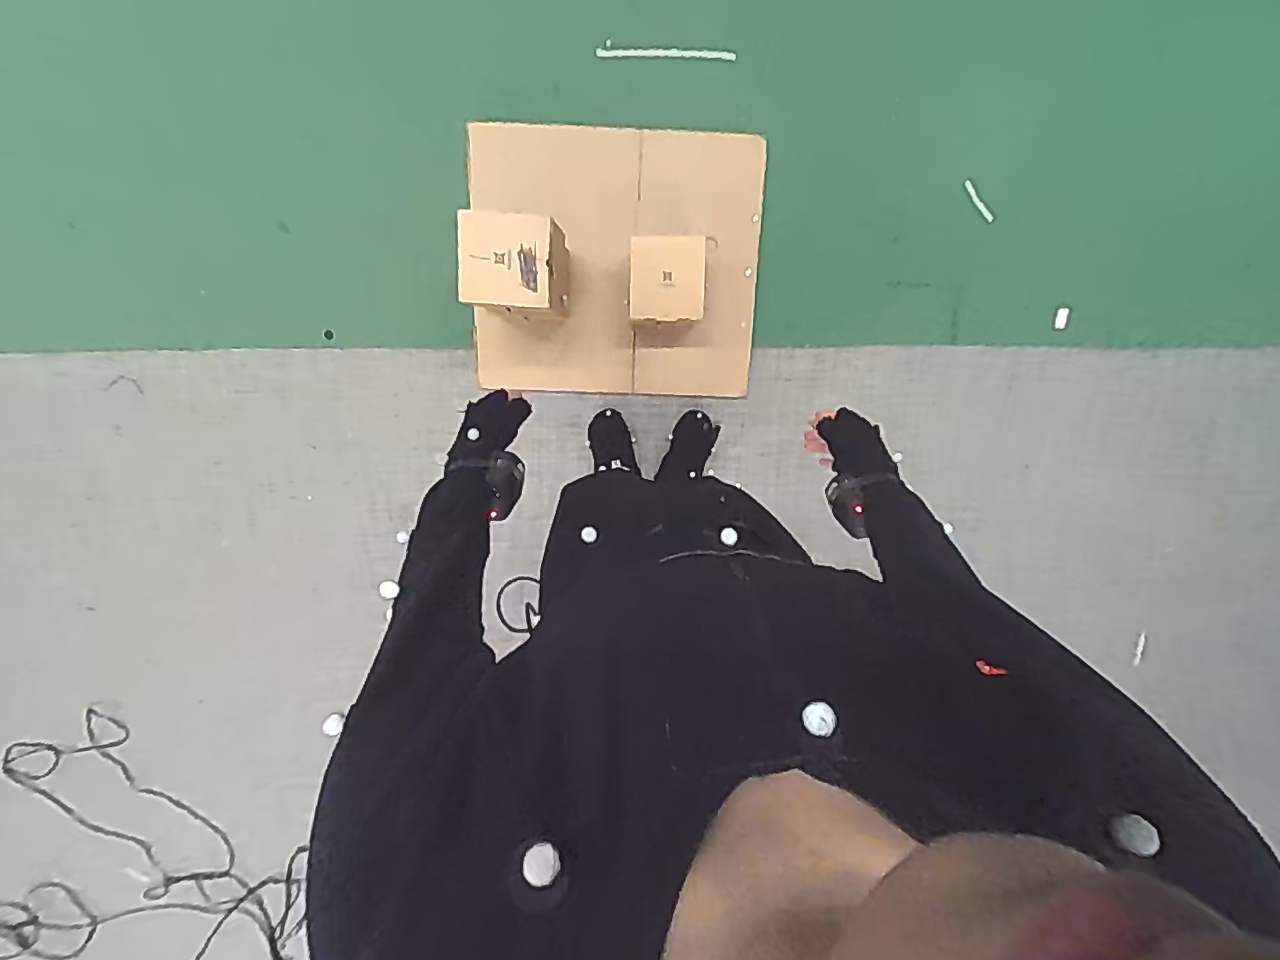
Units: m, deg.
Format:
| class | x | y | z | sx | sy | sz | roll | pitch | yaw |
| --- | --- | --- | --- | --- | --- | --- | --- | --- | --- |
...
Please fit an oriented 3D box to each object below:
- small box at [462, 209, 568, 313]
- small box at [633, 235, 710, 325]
| class | x | y | z | sx | sy | sz | roll | pitch | yaw |
| --- | --- | --- | --- | --- | --- | --- | --- | --- | --- |
| small box | -0.244 | -0.430 | 1.085 | 0.179 | 0.176 | 0.168 | 5 | 104 | 1 |
| small box | 0.067 | -0.456 | 1.253 | 0.168 | 0.176 | 0.179 | 0 | 104 | 0 |
